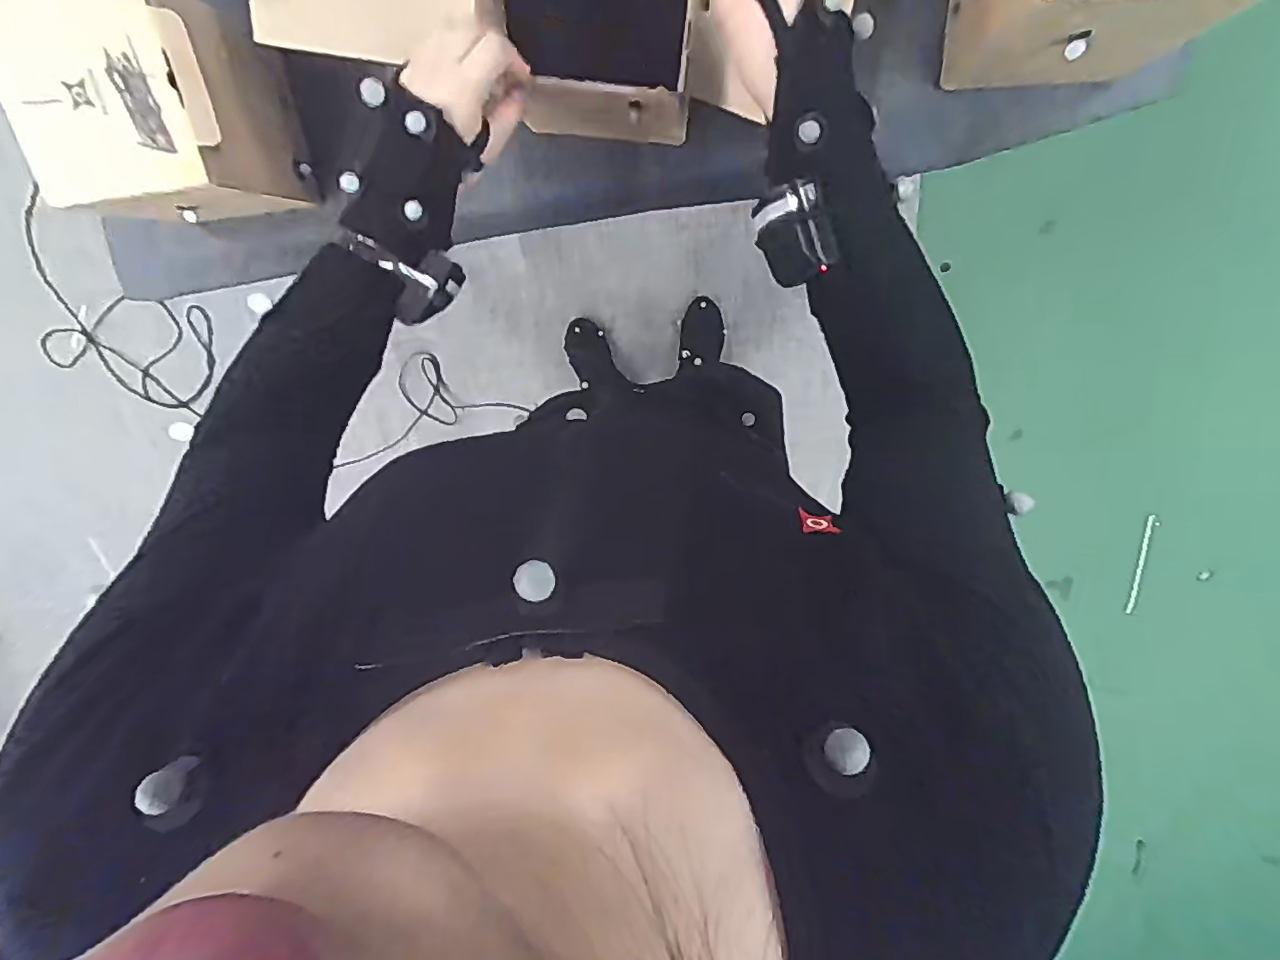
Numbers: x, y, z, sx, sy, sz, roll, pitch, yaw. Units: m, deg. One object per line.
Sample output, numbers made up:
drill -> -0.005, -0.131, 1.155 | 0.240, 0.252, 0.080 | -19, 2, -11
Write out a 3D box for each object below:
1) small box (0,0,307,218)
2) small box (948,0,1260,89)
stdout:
small box -> -0.480, -0.372, 0.552 | 0.179, 0.176, 0.168 | -4, 112, 6
small box -> 0.387, -0.451, 0.449 | 0.179, 0.176, 0.168 | 1, 107, 5
